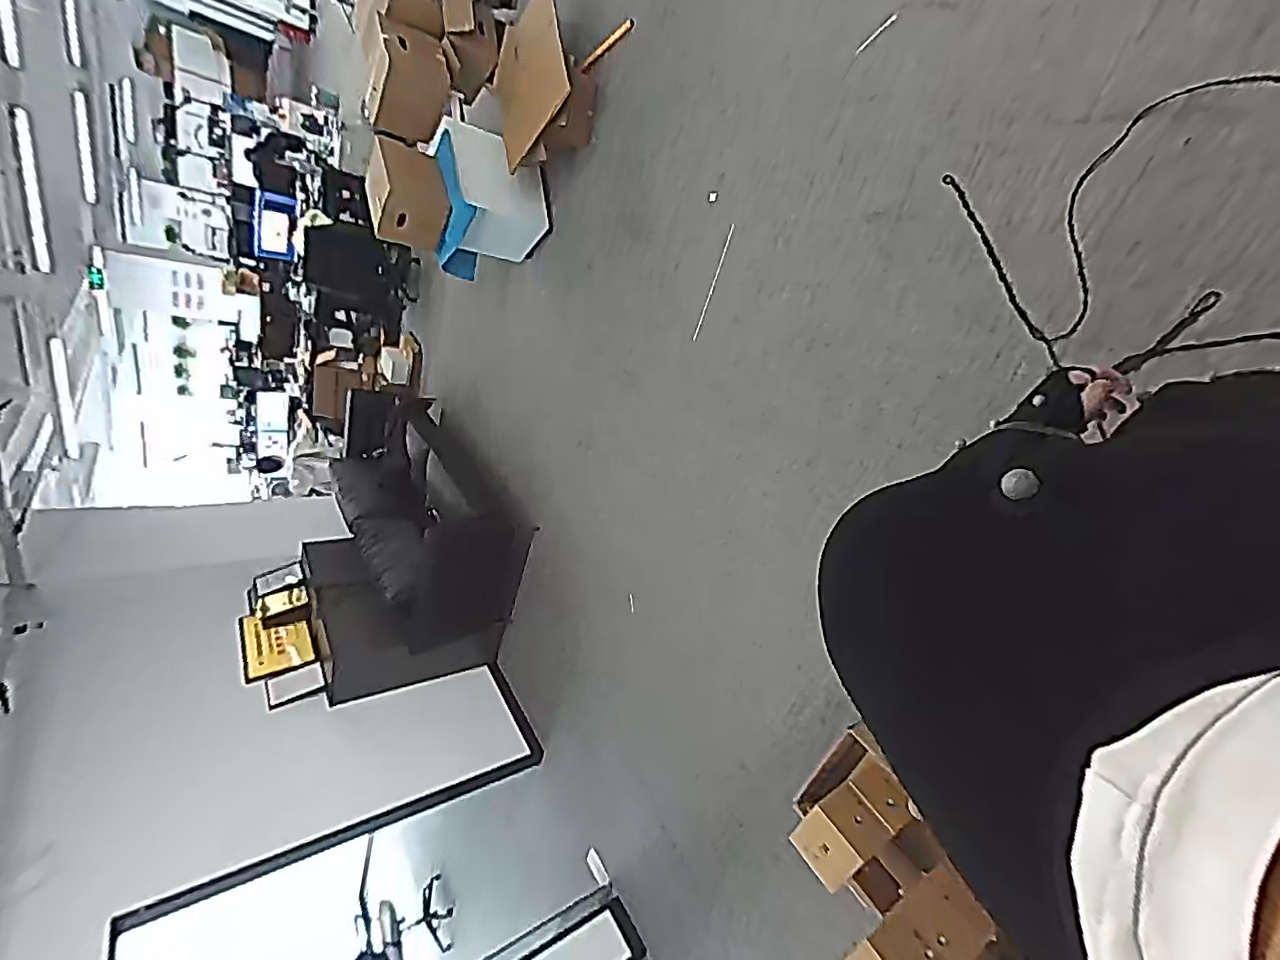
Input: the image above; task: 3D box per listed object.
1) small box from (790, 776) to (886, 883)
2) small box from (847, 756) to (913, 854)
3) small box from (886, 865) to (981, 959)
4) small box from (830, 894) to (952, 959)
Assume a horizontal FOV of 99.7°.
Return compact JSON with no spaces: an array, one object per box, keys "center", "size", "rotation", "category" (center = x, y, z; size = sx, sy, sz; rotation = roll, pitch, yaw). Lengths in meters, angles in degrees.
[{"center":[0.572,0.993,1.551],"size":[0.168,0.176,0.179],"rotation":[46,126,38],"category":"small box"},{"center":[0.701,0.986,1.654],"size":[0.168,0.176,0.179],"rotation":[46,125,38],"category":"small box"},{"center":[0.721,1.133,1.372],"size":[0.168,0.176,0.179],"rotation":[45,125,41],"category":"small box"},{"center":[0.592,1.135,1.270],"size":[0.168,0.176,0.179],"rotation":[45,124,41],"category":"small box"}]
